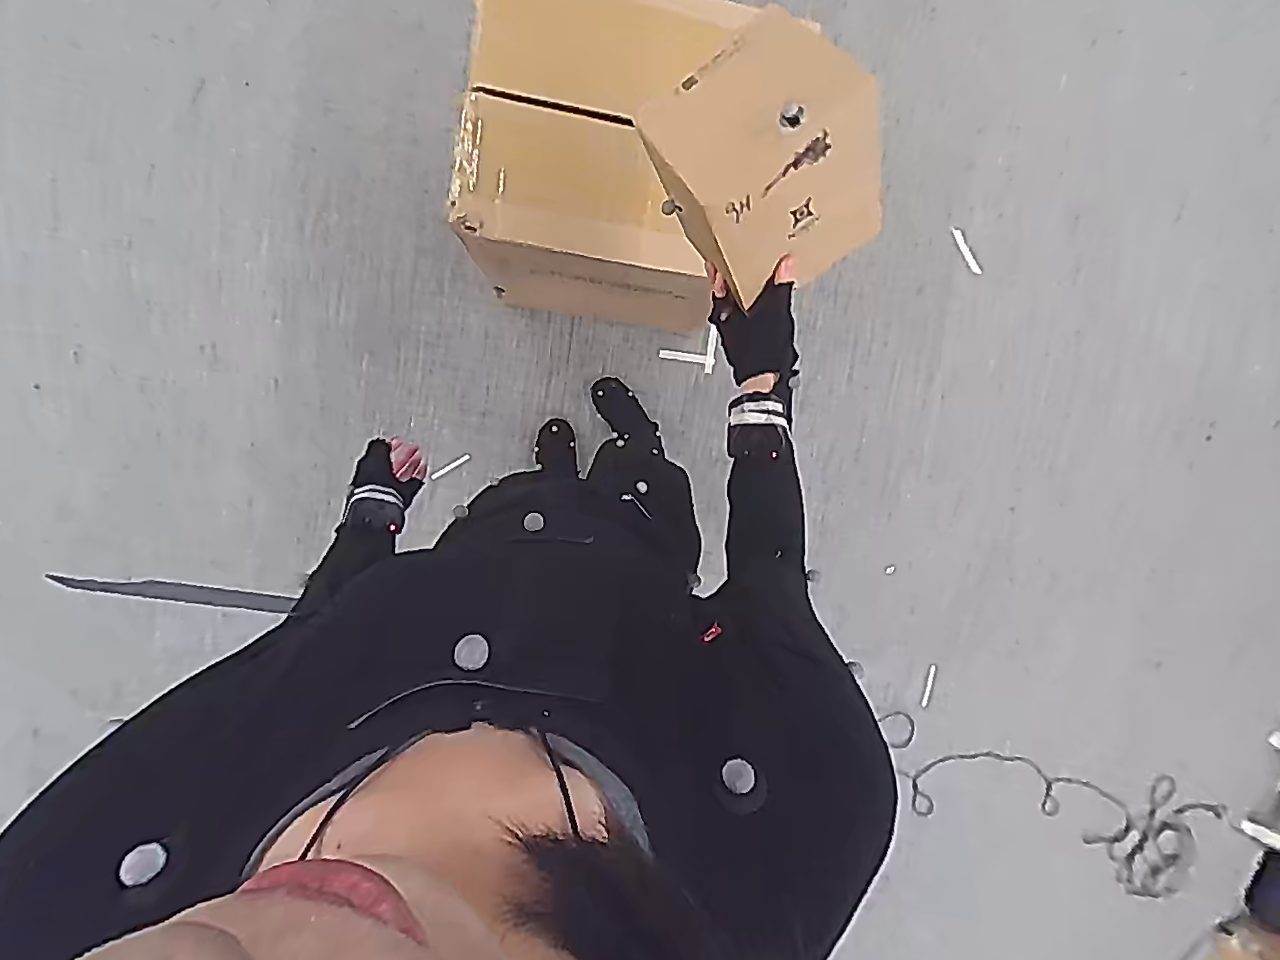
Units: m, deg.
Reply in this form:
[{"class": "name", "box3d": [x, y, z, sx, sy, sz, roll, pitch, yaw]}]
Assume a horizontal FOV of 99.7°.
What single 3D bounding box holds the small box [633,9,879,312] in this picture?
[{"class": "small box", "box3d": [0.120, -0.321, 0.558, 0.168, 0.179, 0.176, -34, 60, 12]}]
